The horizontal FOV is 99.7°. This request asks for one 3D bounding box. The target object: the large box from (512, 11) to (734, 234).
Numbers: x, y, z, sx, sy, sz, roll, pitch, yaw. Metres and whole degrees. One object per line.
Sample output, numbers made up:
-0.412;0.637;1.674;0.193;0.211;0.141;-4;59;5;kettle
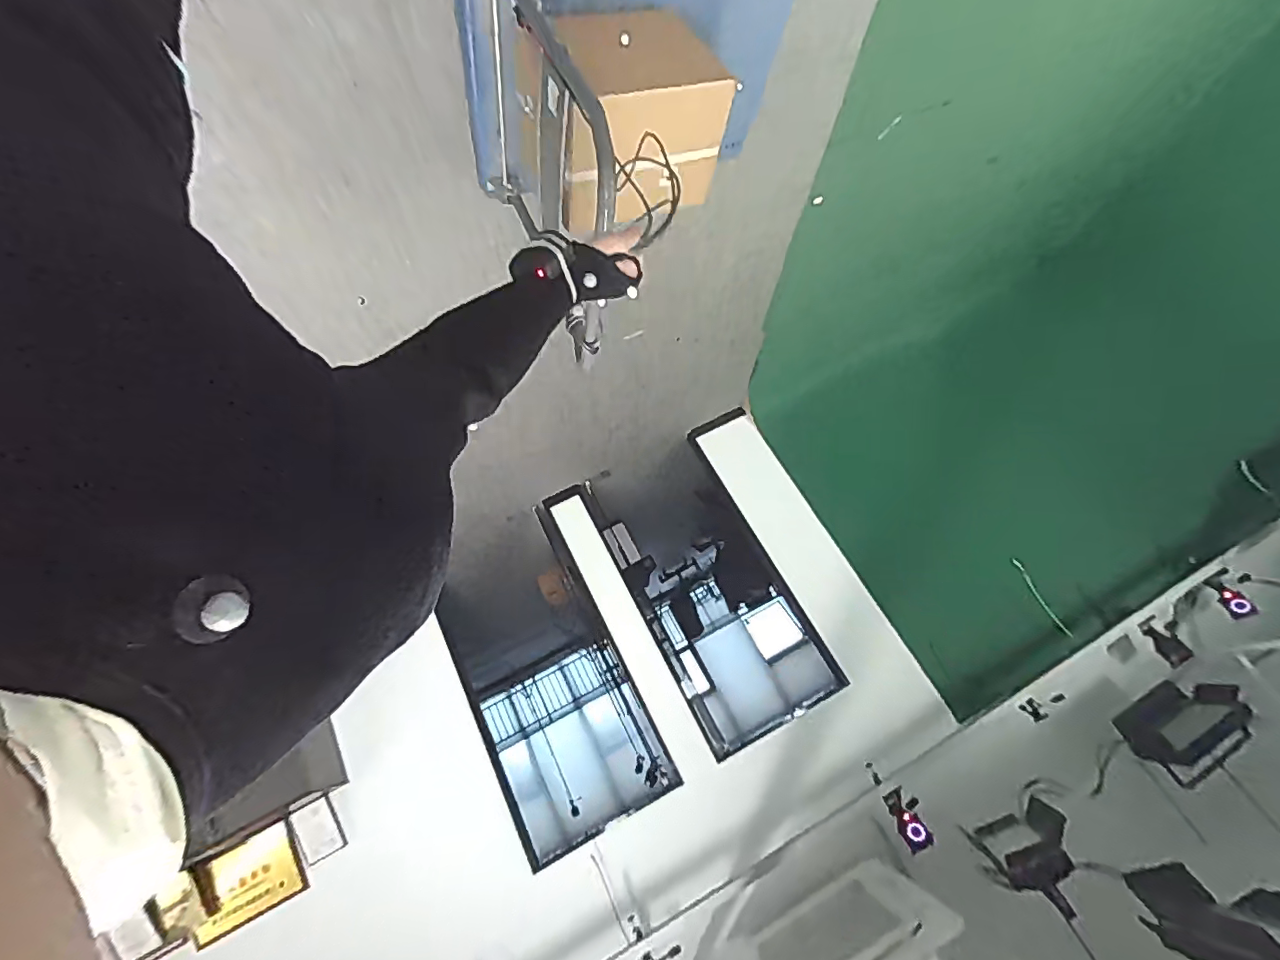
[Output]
-0.055;-0.865;1.309;0.408;0.320;0.320;-23;159;-19;large box
